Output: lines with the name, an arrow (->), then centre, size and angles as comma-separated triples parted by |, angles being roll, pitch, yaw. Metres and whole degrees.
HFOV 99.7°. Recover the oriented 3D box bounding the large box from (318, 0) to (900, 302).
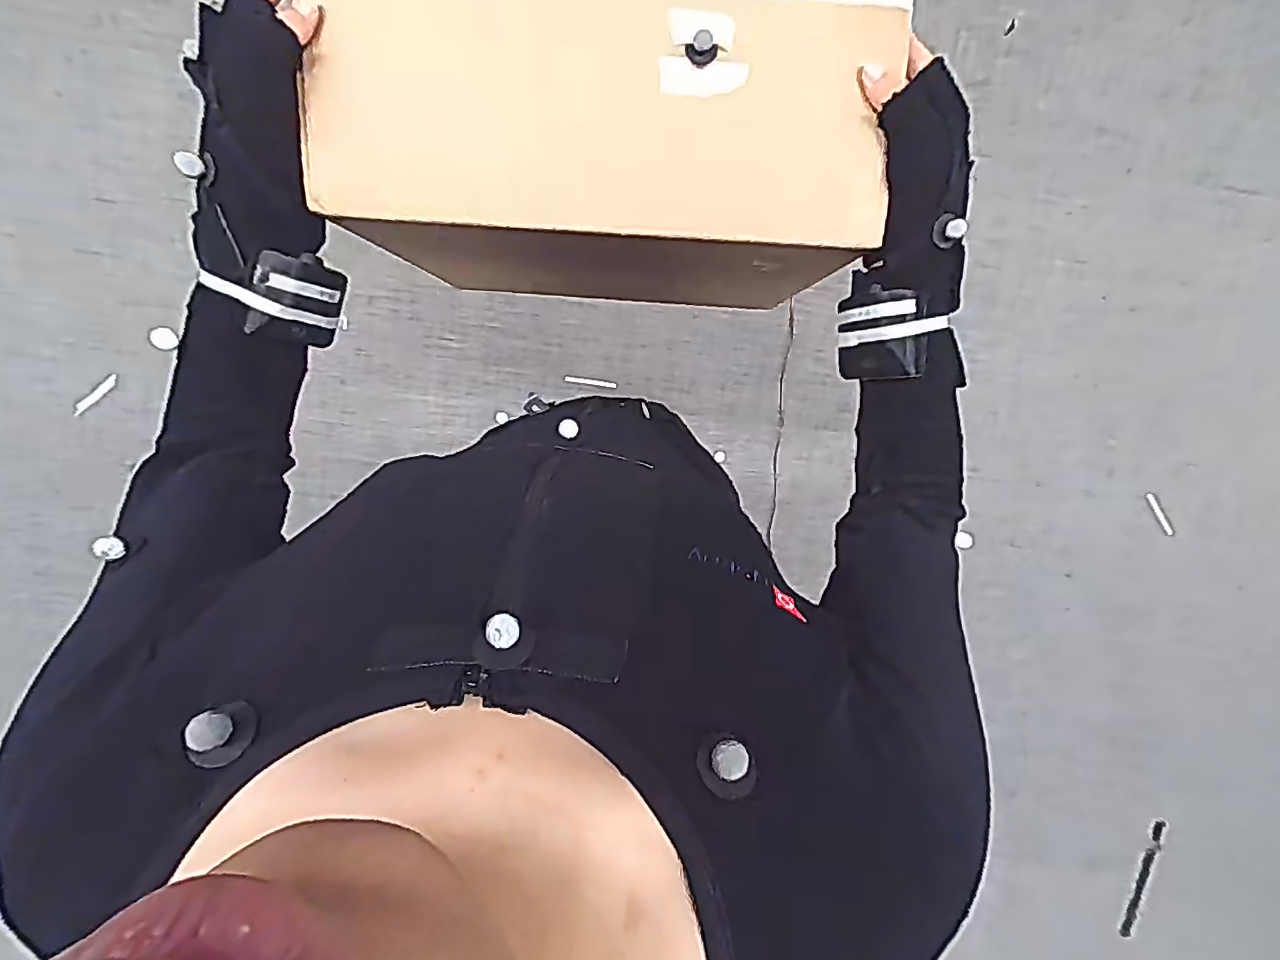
large box -> -0.022, -0.360, 0.514 | 0.408, 0.320, 0.320 | 3, 100, -1
